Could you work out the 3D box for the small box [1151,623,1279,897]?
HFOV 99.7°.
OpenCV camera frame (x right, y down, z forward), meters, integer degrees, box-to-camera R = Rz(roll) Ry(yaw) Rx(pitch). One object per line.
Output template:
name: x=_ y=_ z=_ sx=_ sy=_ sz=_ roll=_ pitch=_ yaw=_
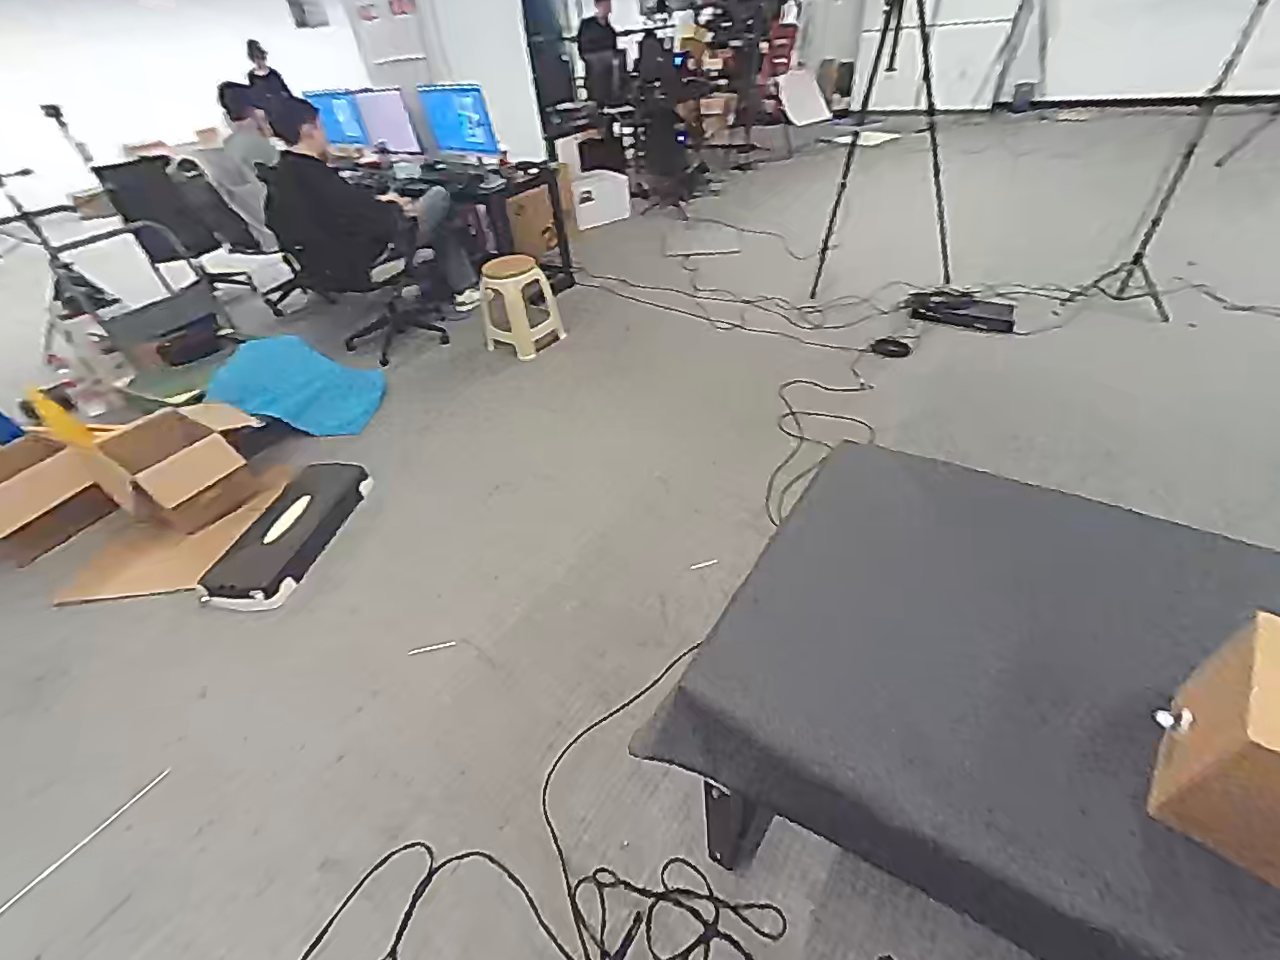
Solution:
small box: x=0.618 y=0.271 z=0.482 sx=0.179 sy=0.176 sz=0.168 roll=27 pitch=49 yaw=35
